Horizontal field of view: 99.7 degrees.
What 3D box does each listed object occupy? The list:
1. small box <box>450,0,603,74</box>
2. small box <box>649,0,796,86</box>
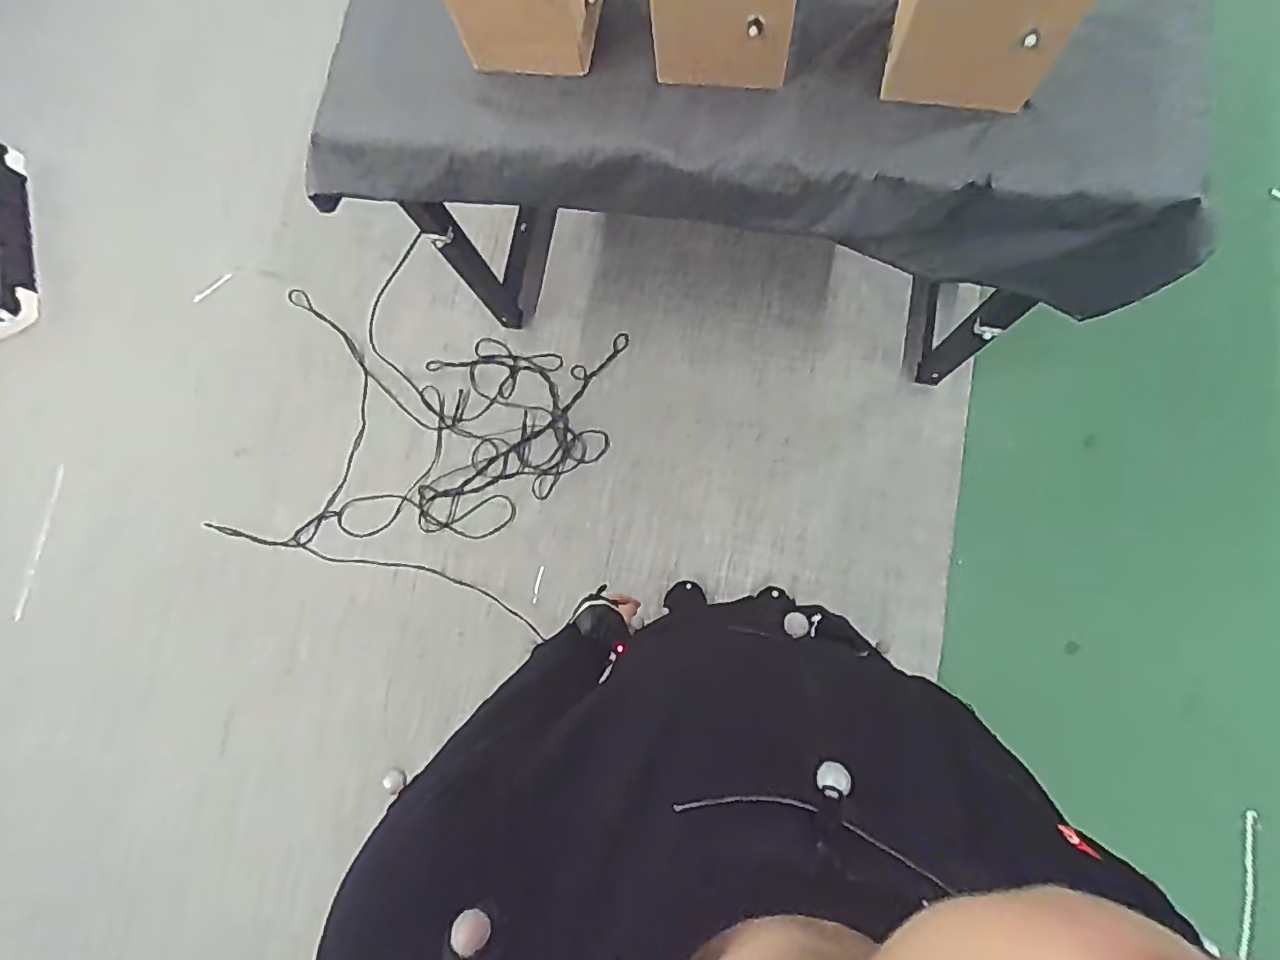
[{"bbox_3d":[-0.159,-0.691,0.730,0.179,0.176,0.168,8,81,8],"label":"small box"},{"bbox_3d":[0.114,-0.642,0.687,0.179,0.176,0.168,9,81,10],"label":"small box"}]
